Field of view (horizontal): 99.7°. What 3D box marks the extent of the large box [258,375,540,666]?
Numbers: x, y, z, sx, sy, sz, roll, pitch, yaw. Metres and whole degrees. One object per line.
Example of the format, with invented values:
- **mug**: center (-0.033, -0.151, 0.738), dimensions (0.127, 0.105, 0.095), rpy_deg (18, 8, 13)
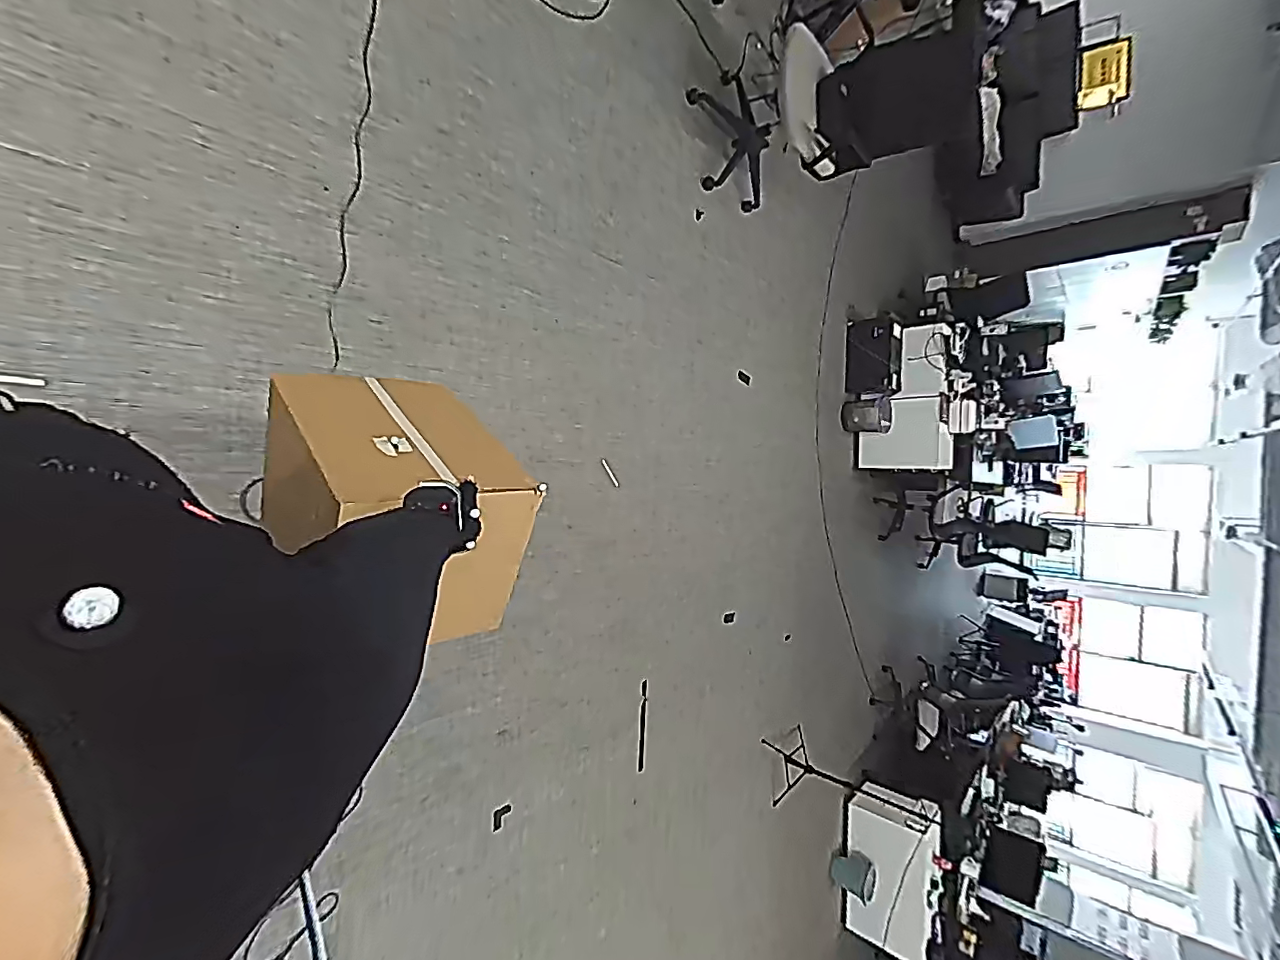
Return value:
- **large box**: center (-0.452, 0.048, 0.975), dimensions (0.320, 0.408, 0.320), rpy_deg (-4, 126, -45)
